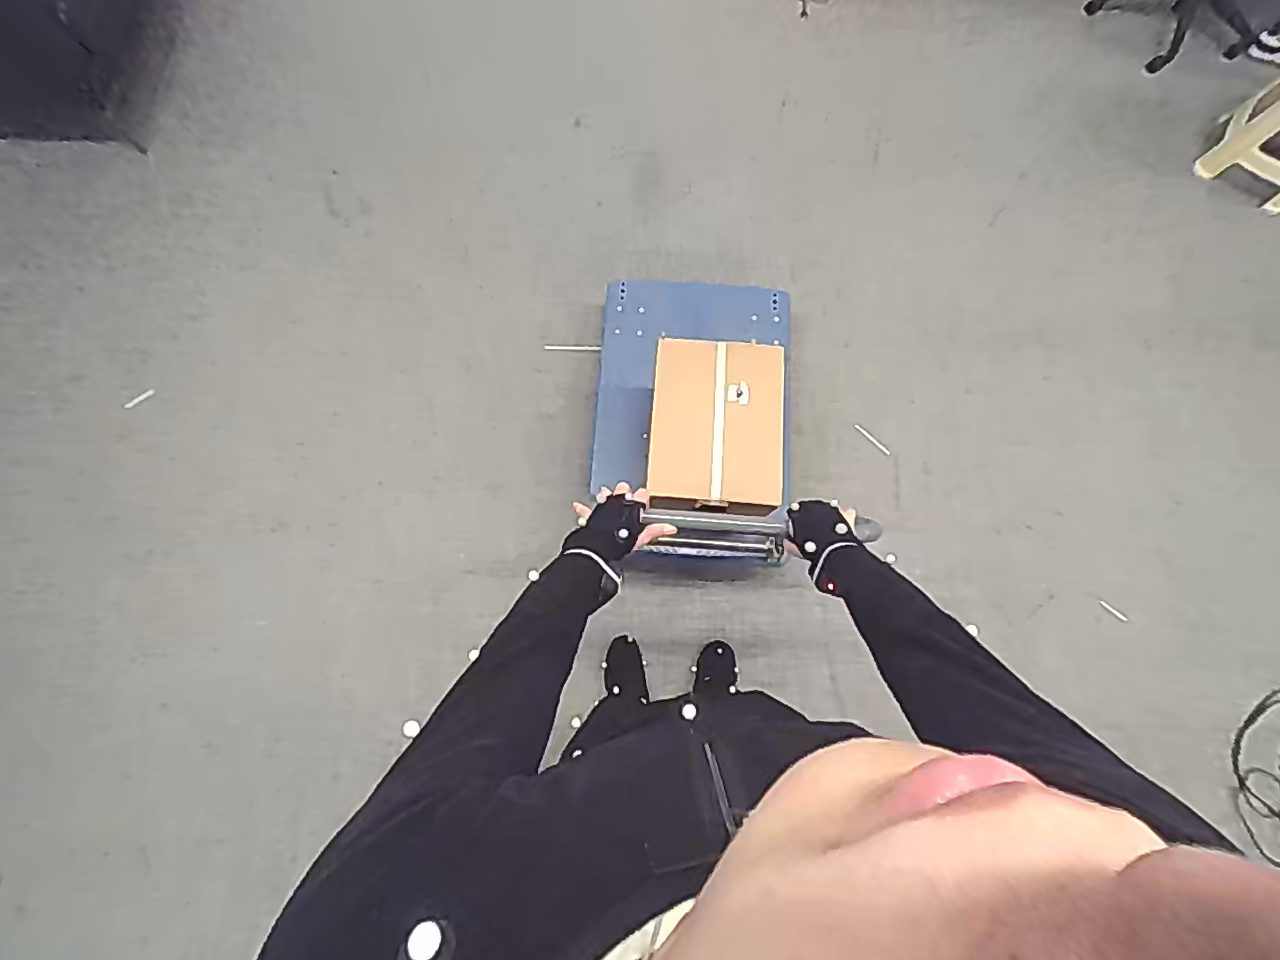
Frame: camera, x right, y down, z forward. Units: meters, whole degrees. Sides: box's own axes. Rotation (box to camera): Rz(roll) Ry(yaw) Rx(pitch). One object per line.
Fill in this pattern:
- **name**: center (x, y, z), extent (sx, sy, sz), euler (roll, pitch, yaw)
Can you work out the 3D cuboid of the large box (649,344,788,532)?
- **large box**: center (0.187, -0.091, 1.405), extent (0.320, 0.320, 0.408), euler (5, 74, 0)
